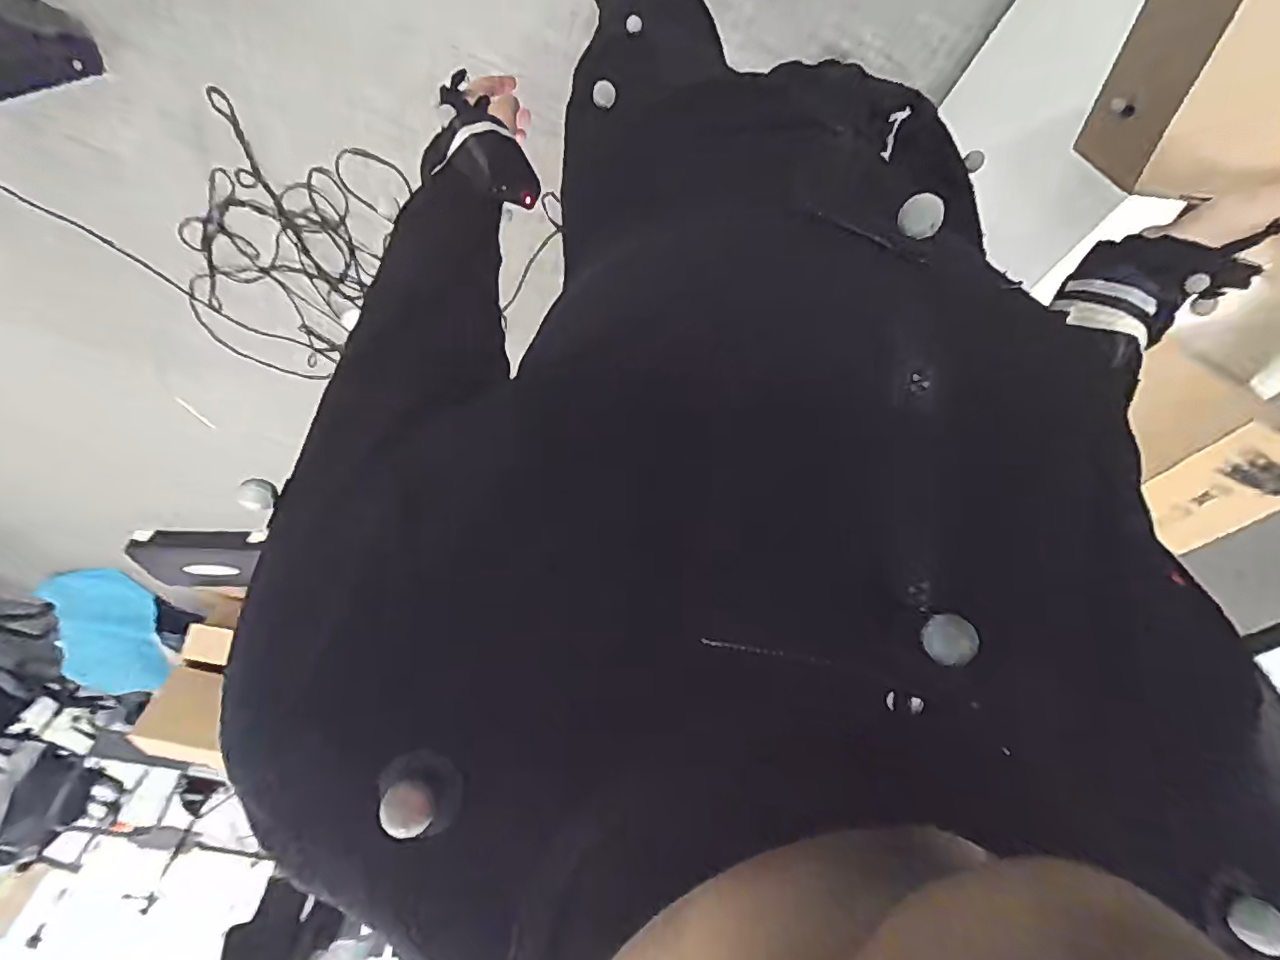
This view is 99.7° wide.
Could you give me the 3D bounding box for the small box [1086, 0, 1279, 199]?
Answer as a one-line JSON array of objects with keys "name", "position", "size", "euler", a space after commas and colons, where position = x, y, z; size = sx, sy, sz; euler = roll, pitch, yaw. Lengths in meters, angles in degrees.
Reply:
[{"name": "small box", "position": [0.448, -0.307, 0.367], "size": [0.168, 0.176, 0.179], "euler": [12, 132, 14]}]
